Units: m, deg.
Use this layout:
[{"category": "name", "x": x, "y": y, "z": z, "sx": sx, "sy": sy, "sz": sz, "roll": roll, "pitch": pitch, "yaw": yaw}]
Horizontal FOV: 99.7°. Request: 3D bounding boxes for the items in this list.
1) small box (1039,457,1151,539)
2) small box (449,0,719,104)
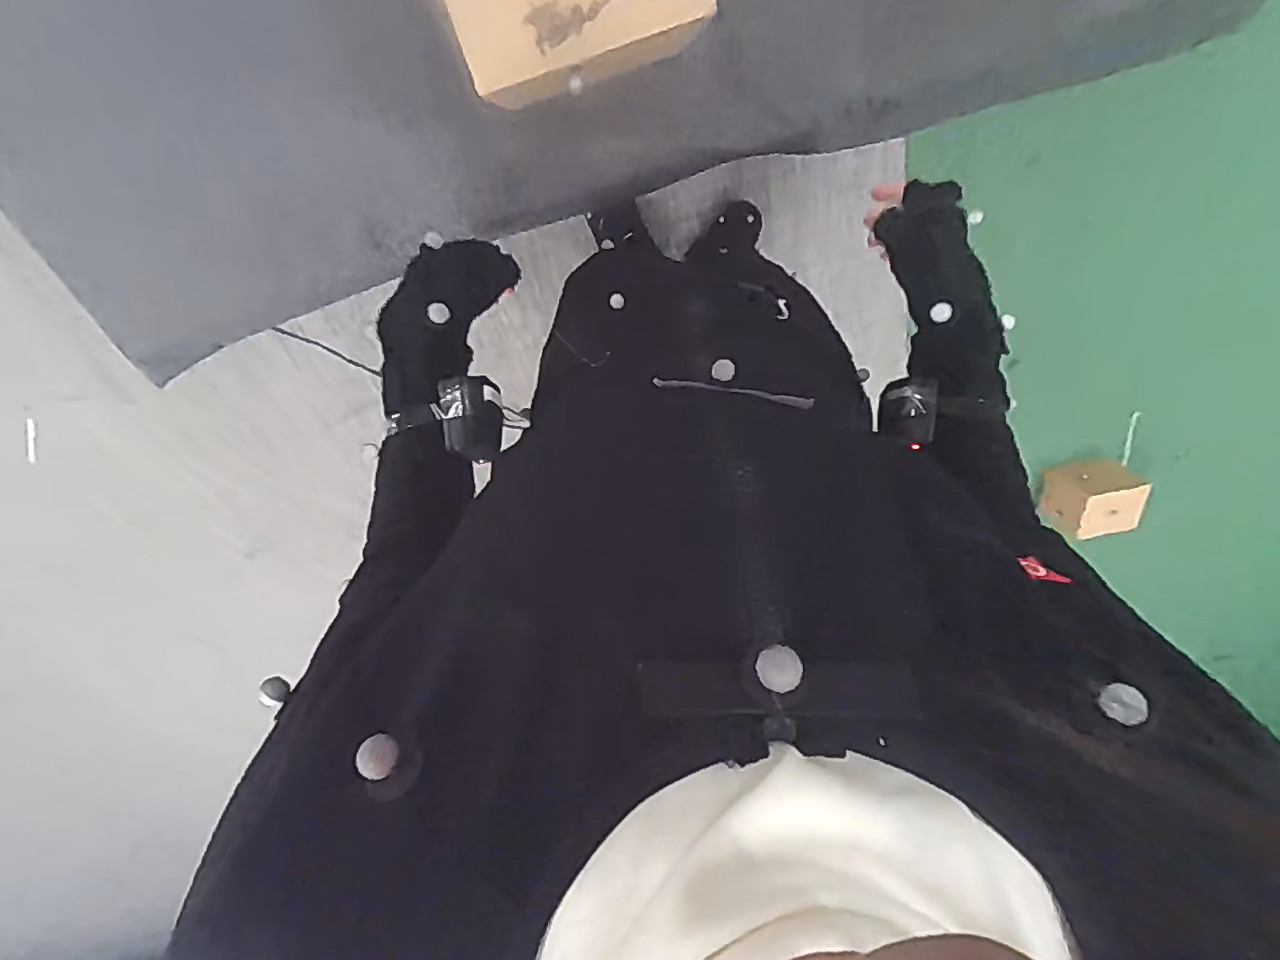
[{"category": "small box", "x": 1.351, "y": 0.051, "z": 1.622, "sx": 0.179, "sy": 0.176, "sz": 0.168, "roll": -11, "pitch": 125, "yaw": 1}, {"category": "small box", "x": -0.056, "y": -0.388, "z": 0.371, "sx": 0.168, "sy": 0.176, "sz": 0.179, "roll": -16, "pitch": 121, "yaw": 5}]
